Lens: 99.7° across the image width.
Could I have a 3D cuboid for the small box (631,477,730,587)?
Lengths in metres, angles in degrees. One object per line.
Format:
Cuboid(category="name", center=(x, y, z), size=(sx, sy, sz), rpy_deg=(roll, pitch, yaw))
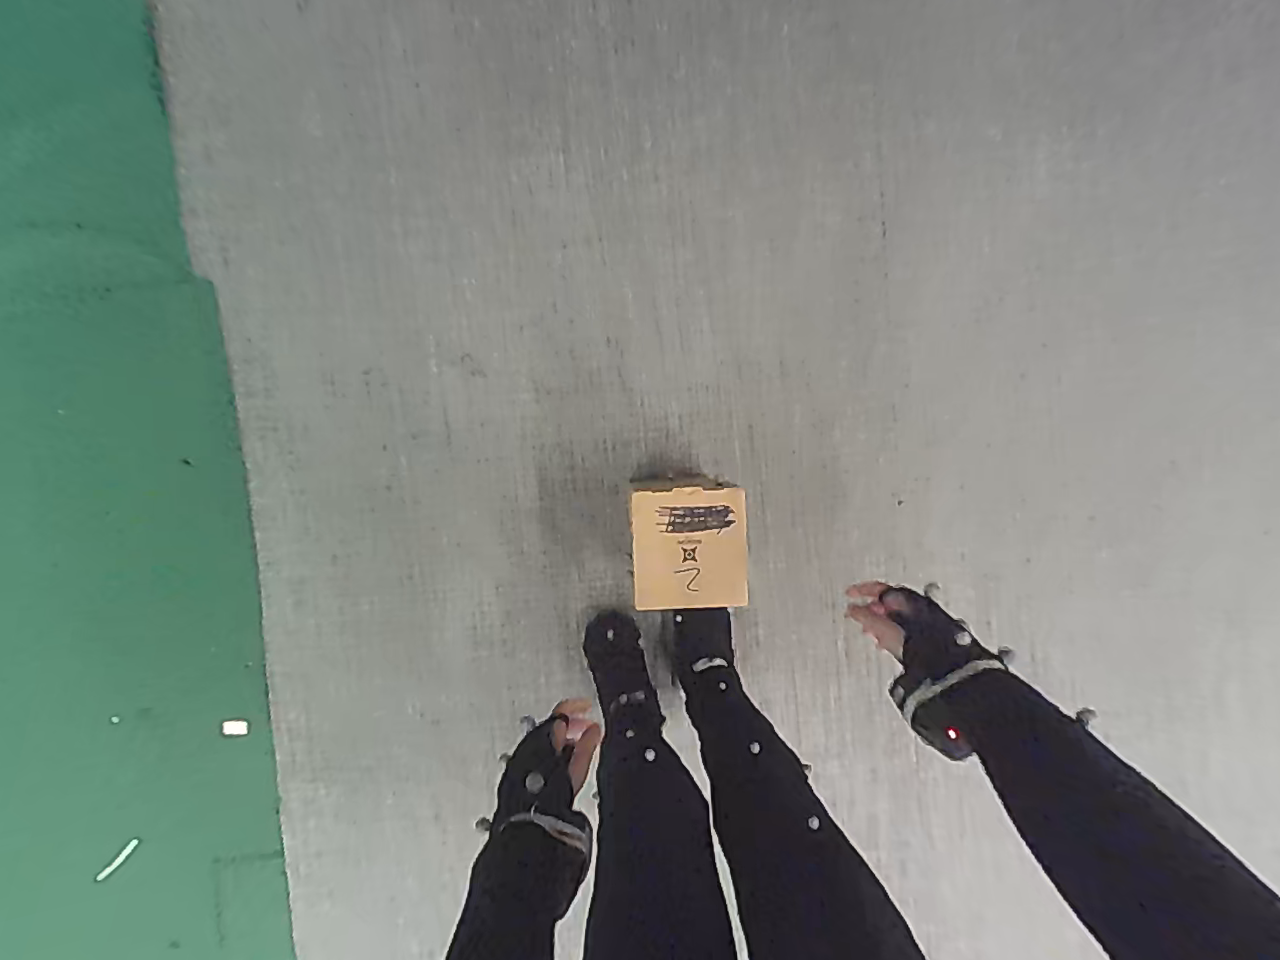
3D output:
Cuboid(category="small box", center=(0.073, 0.092, 1.018), size=(0.168, 0.176, 0.179), rpy_deg=(-4, 94, 0))
